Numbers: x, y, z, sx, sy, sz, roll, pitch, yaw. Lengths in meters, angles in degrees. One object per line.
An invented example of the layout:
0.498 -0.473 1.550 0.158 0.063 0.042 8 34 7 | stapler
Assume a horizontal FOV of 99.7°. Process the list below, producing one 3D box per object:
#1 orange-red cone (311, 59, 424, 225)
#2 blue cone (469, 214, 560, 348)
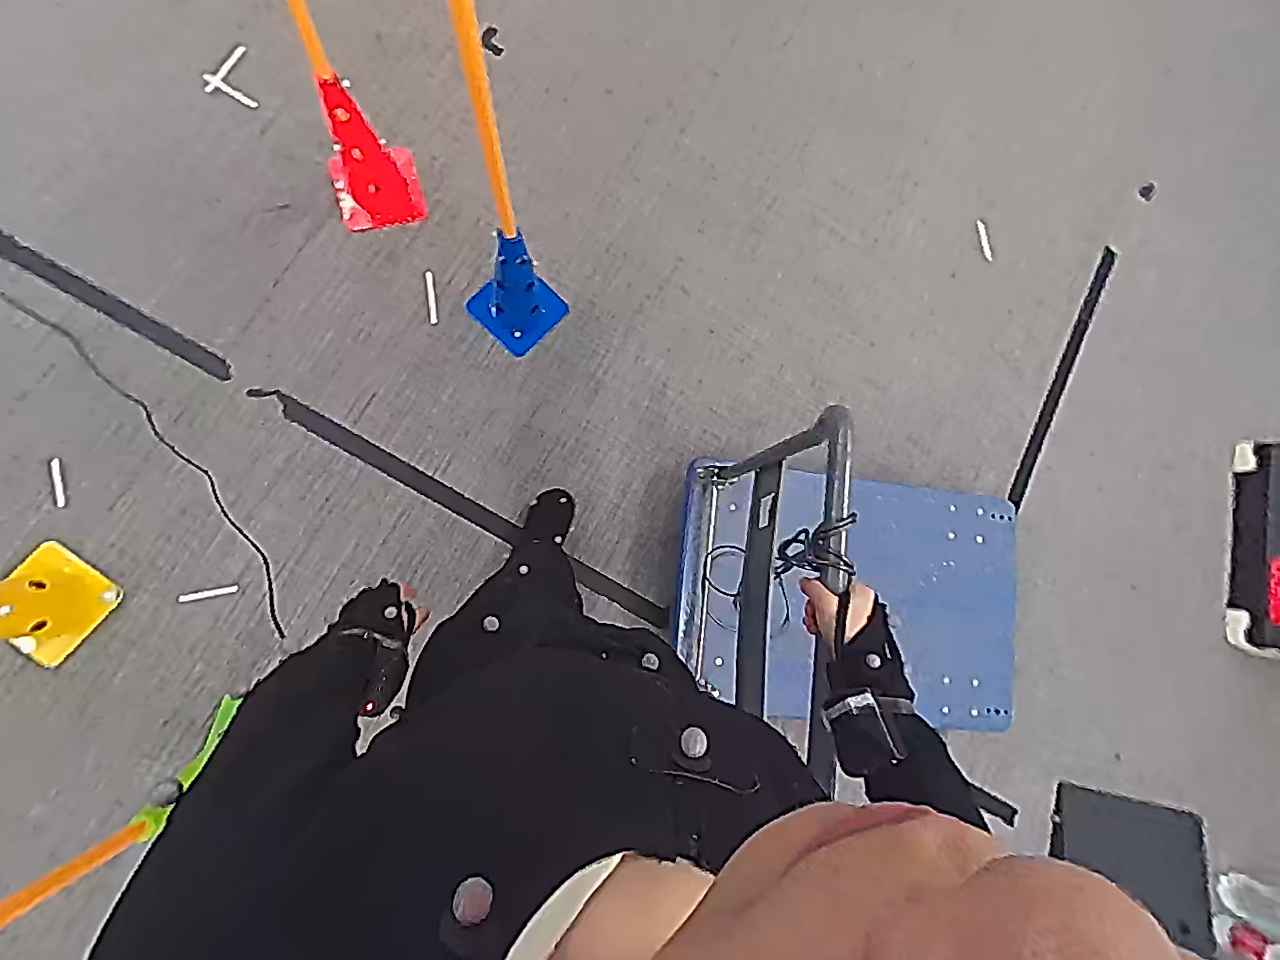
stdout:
-0.629 -0.759 1.191 0.198 0.360 0.199 -15 88 -11 | orange-red cone
-0.294 -0.472 1.232 0.192 0.380 0.193 45 79 -2 | blue cone
